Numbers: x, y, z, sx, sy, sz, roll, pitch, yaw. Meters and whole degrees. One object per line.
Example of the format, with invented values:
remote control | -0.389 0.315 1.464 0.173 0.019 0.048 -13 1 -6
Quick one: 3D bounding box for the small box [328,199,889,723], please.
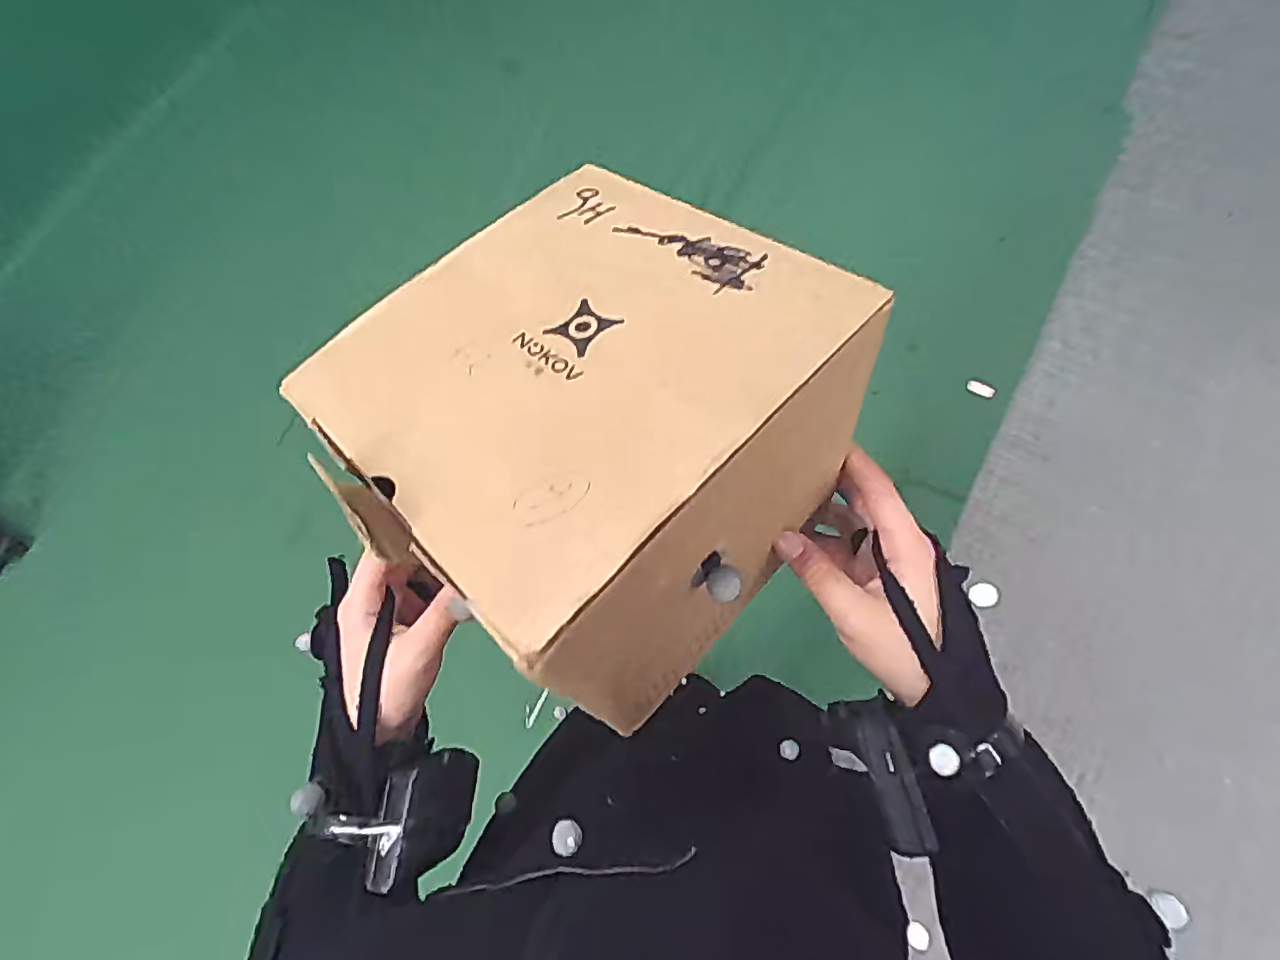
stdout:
small box | -0.007 -0.001 0.284 0.179 0.176 0.168 -43 62 -15
